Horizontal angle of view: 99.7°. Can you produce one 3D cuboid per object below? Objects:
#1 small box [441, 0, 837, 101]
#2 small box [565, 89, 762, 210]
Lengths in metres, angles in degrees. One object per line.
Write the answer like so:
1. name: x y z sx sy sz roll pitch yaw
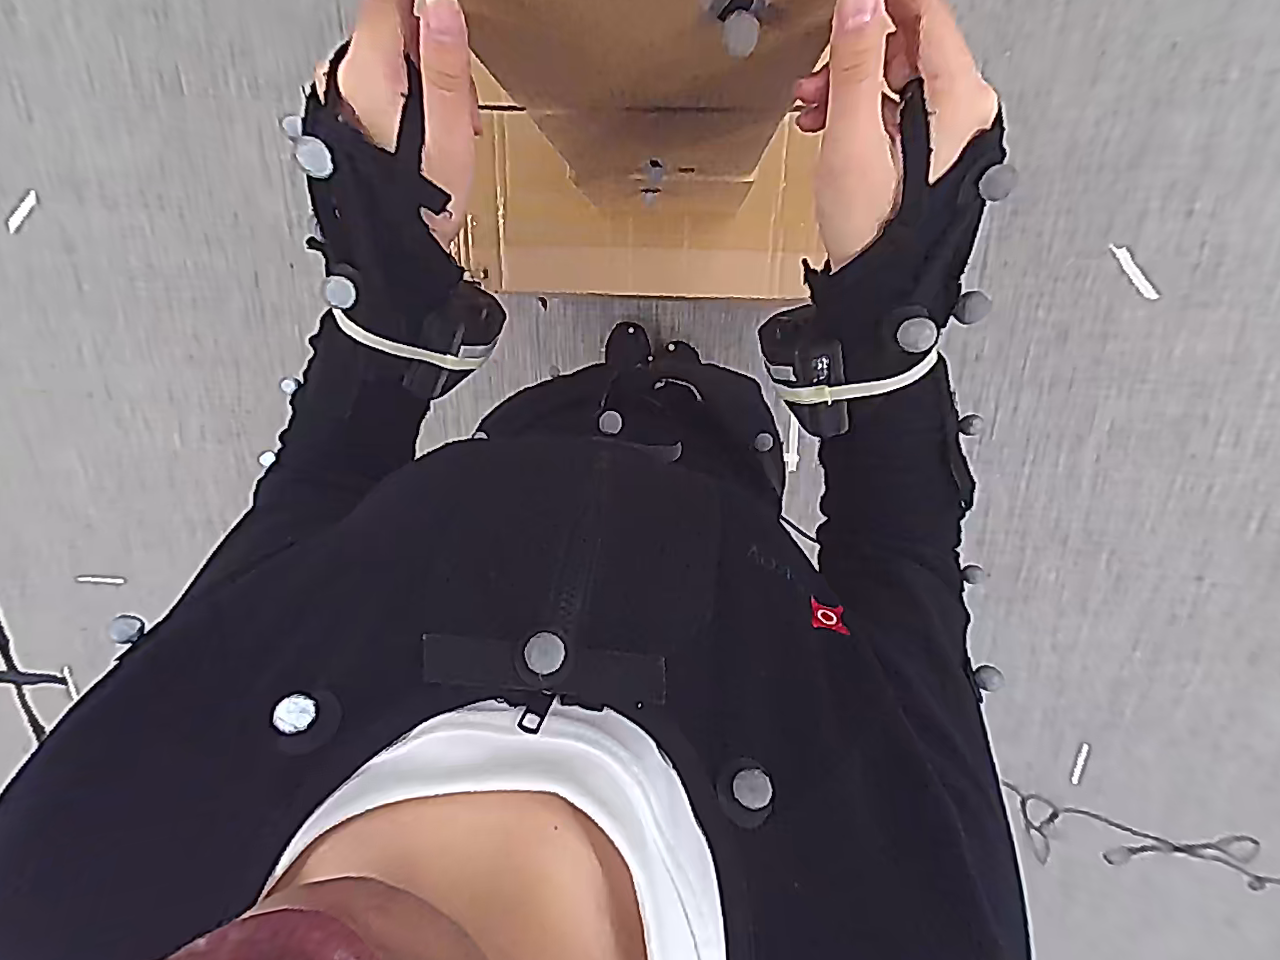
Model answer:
1. small box: 0.004 -0.287 0.231 0.179 0.176 0.168 3 108 3
2. small box: 0.027 -0.379 0.546 0.179 0.176 0.168 3 108 3
